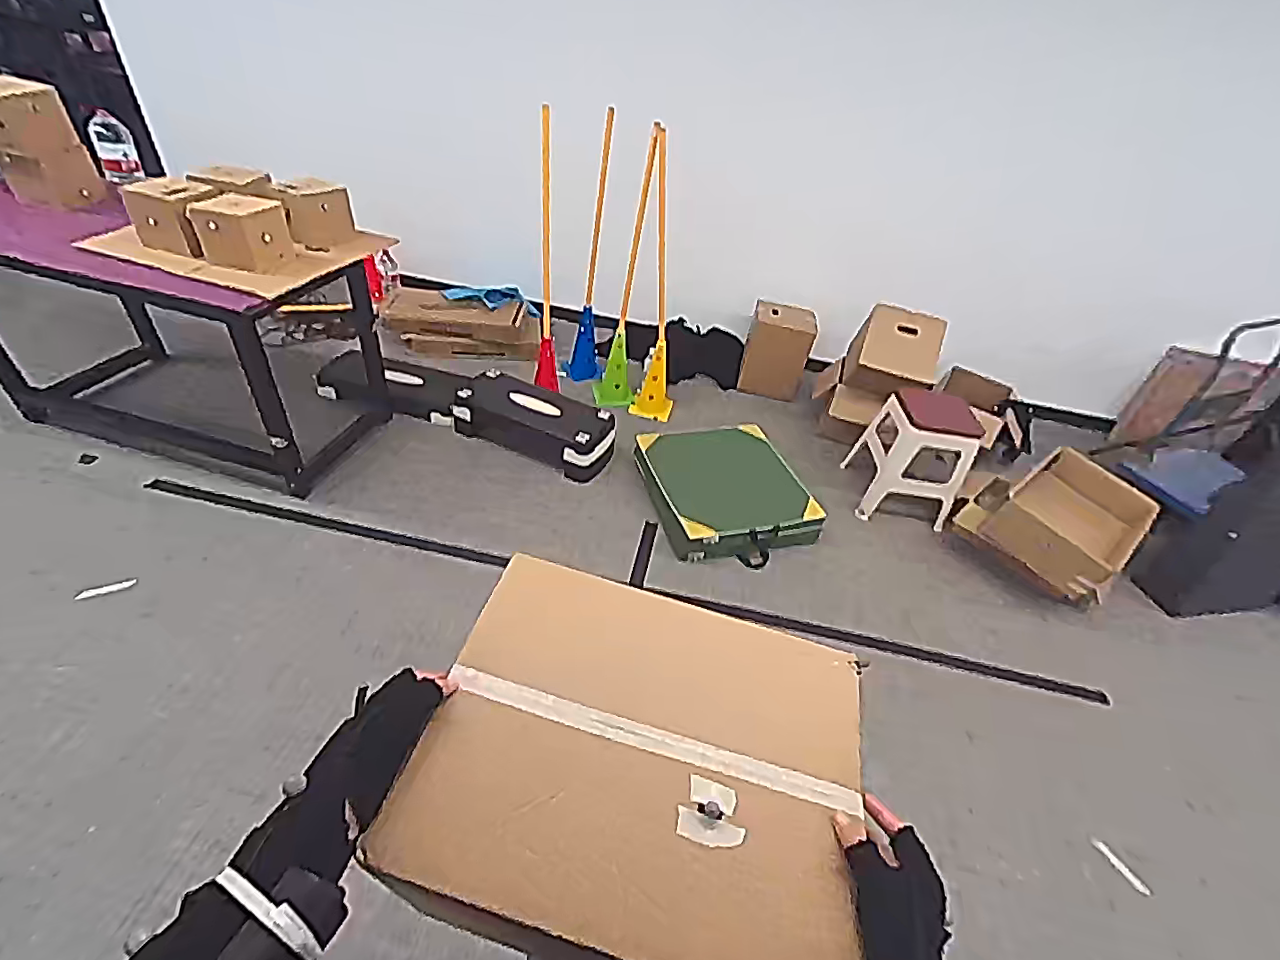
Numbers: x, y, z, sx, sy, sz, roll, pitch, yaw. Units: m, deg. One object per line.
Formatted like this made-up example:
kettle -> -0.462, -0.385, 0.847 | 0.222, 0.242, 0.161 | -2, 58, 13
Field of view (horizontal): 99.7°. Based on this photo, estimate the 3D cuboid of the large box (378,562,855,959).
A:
large box -> -0.013, 0.352, 0.634 | 0.408, 0.320, 0.320 | 16, 46, 4
